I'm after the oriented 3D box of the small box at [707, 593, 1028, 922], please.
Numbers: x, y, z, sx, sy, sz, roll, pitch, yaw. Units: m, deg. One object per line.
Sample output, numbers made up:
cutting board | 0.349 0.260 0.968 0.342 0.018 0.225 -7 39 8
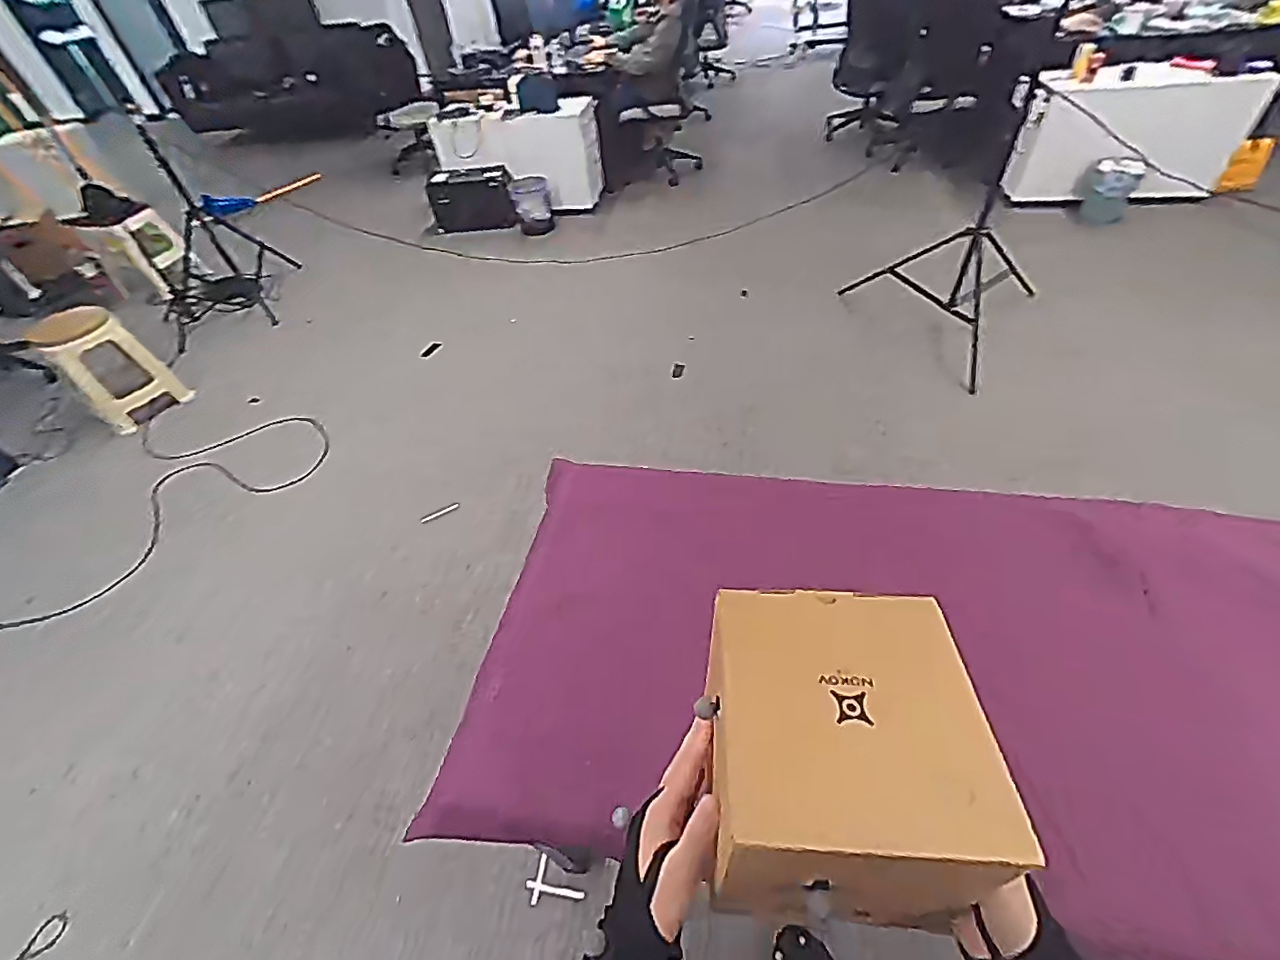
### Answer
small box | 0.140 0.209 0.413 0.168 0.176 0.179 1 40 3
